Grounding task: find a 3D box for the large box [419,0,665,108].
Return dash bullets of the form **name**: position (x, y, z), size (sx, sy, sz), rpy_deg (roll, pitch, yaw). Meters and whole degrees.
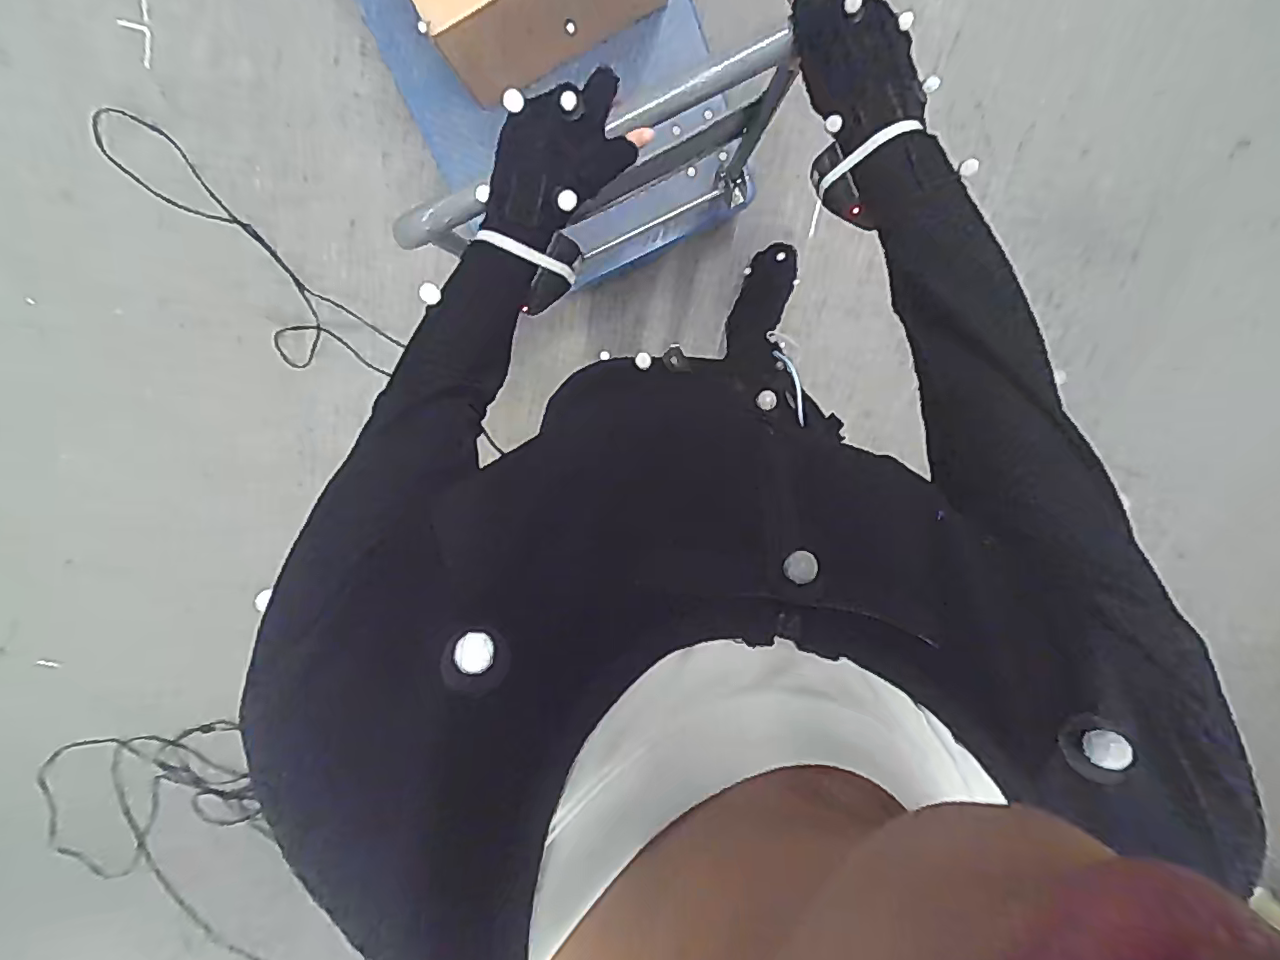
- **large box**: position (-0.185, -0.899, 0.863), size (0.408, 0.320, 0.320), rpy_deg (-26, 105, 7)
